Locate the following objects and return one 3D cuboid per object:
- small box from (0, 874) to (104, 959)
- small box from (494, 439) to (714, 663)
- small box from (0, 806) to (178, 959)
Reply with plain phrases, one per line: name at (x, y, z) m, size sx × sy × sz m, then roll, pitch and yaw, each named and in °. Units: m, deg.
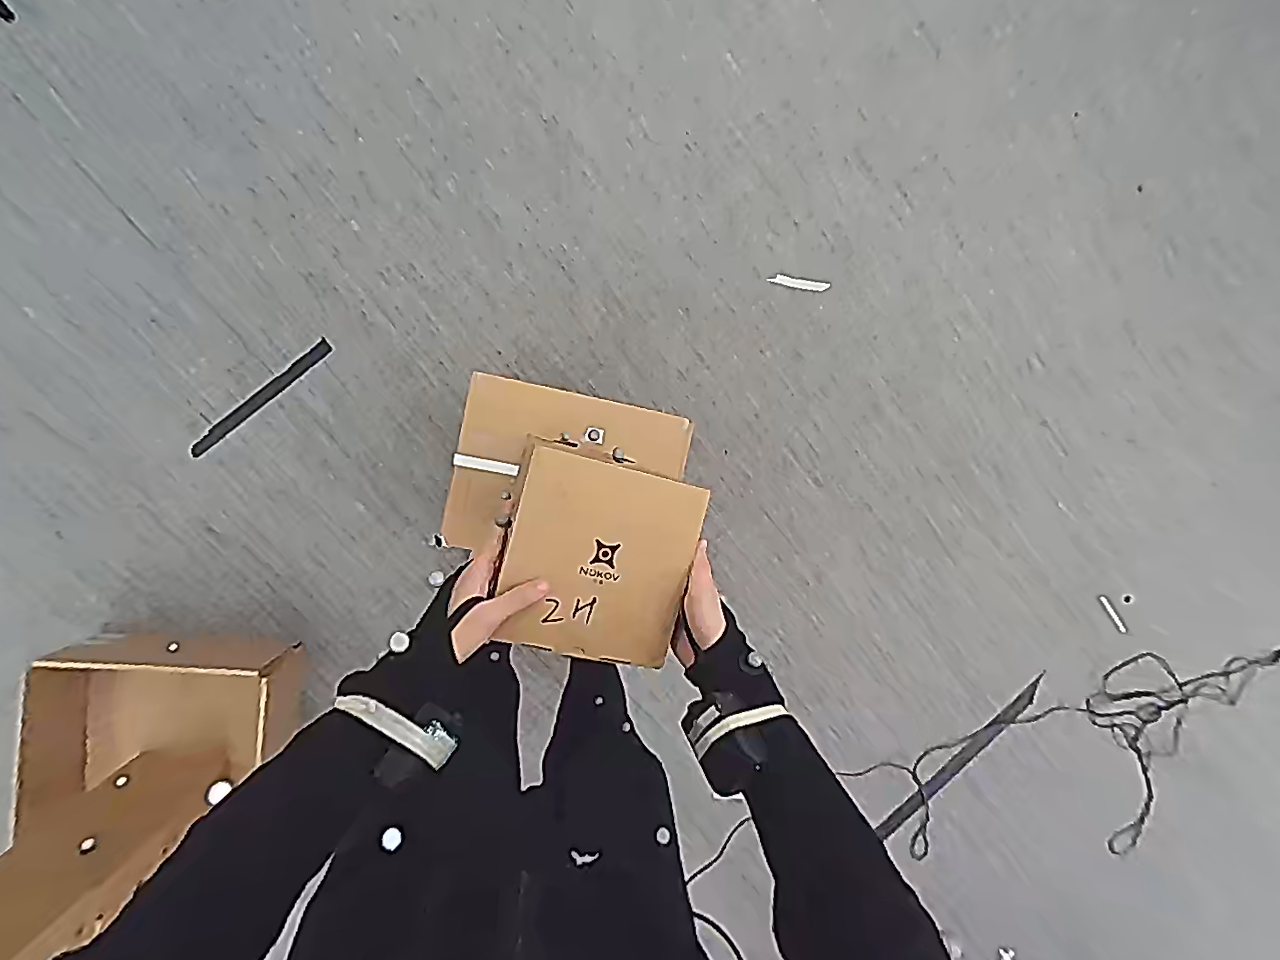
small box at (-0.902, 0.676, 0.734) m, size 0.179 × 0.176 × 0.168 m, roll 9°, pitch 91°, yaw -10°
small box at (-0.047, 0.060, 0.559) m, size 0.168 × 0.176 × 0.179 m, roll 15°, pitch 93°, yaw -14°
small box at (-0.922, 0.674, 0.896) m, size 0.179 × 0.176 × 0.168 m, roll 10°, pitch 91°, yaw -10°
